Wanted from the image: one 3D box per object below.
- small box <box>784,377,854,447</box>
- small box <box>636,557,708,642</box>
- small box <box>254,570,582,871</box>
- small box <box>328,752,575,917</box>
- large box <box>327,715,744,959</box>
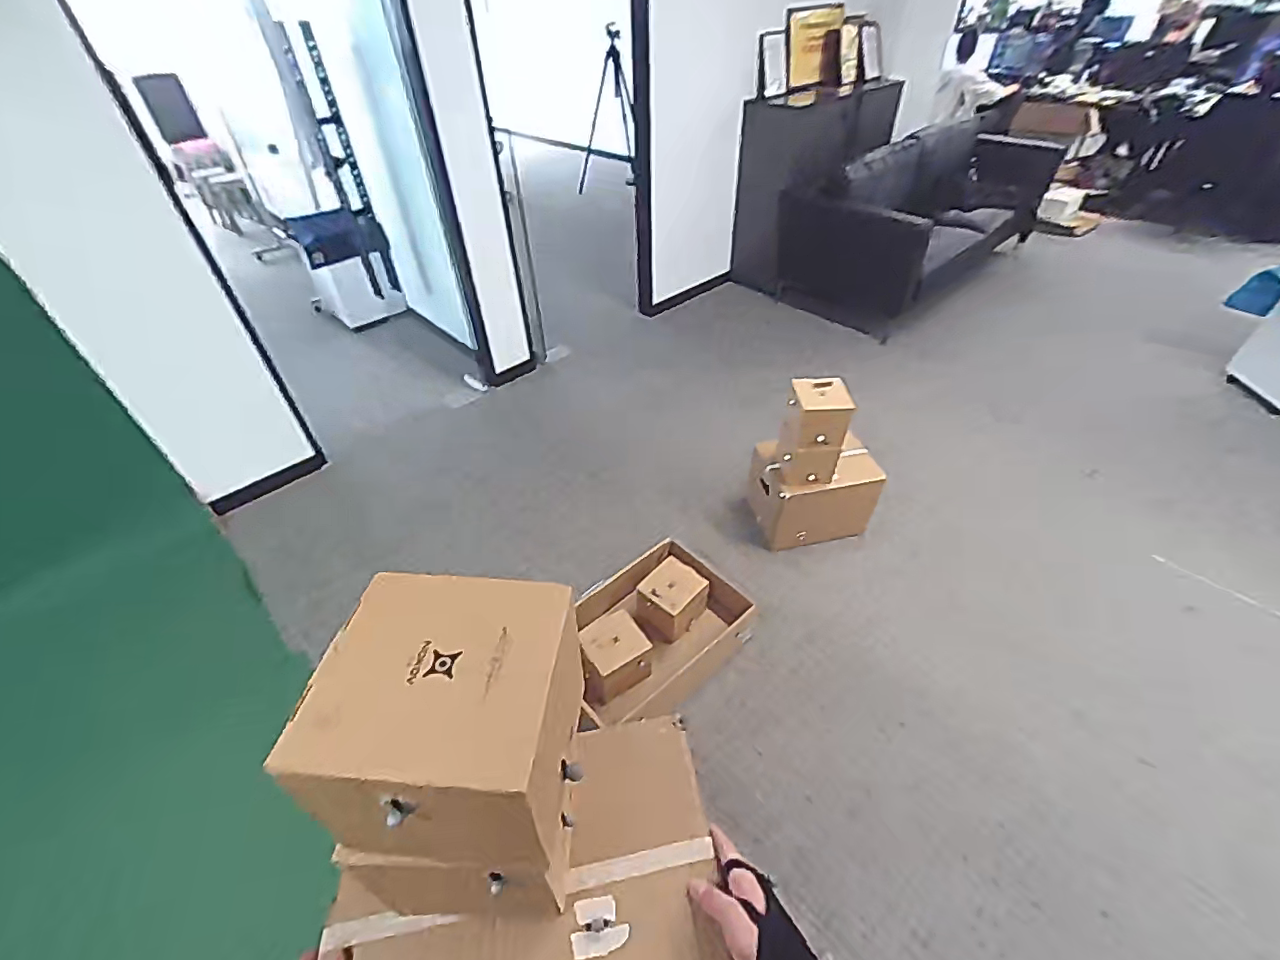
[{"bbox_3d":[0.592,-0.228,1.818,0.168,0.176,0.179,-2,45,0],"label":"small box"},{"bbox_3d":[0.102,0.395,1.787,0.168,0.176,0.179,32,52,32],"label":"small box"},{"bbox_3d":[-0.152,0.196,0.445,0.179,0.176,0.168,4,40,4],"label":"small box"},{"bbox_3d":[-0.167,0.321,0.550,0.179,0.176,0.168,0,39,1],"label":"small box"},{"bbox_3d":[-0.114,0.544,0.662,0.408,0.320,0.320,-7,42,-9],"label":"large box"}]
